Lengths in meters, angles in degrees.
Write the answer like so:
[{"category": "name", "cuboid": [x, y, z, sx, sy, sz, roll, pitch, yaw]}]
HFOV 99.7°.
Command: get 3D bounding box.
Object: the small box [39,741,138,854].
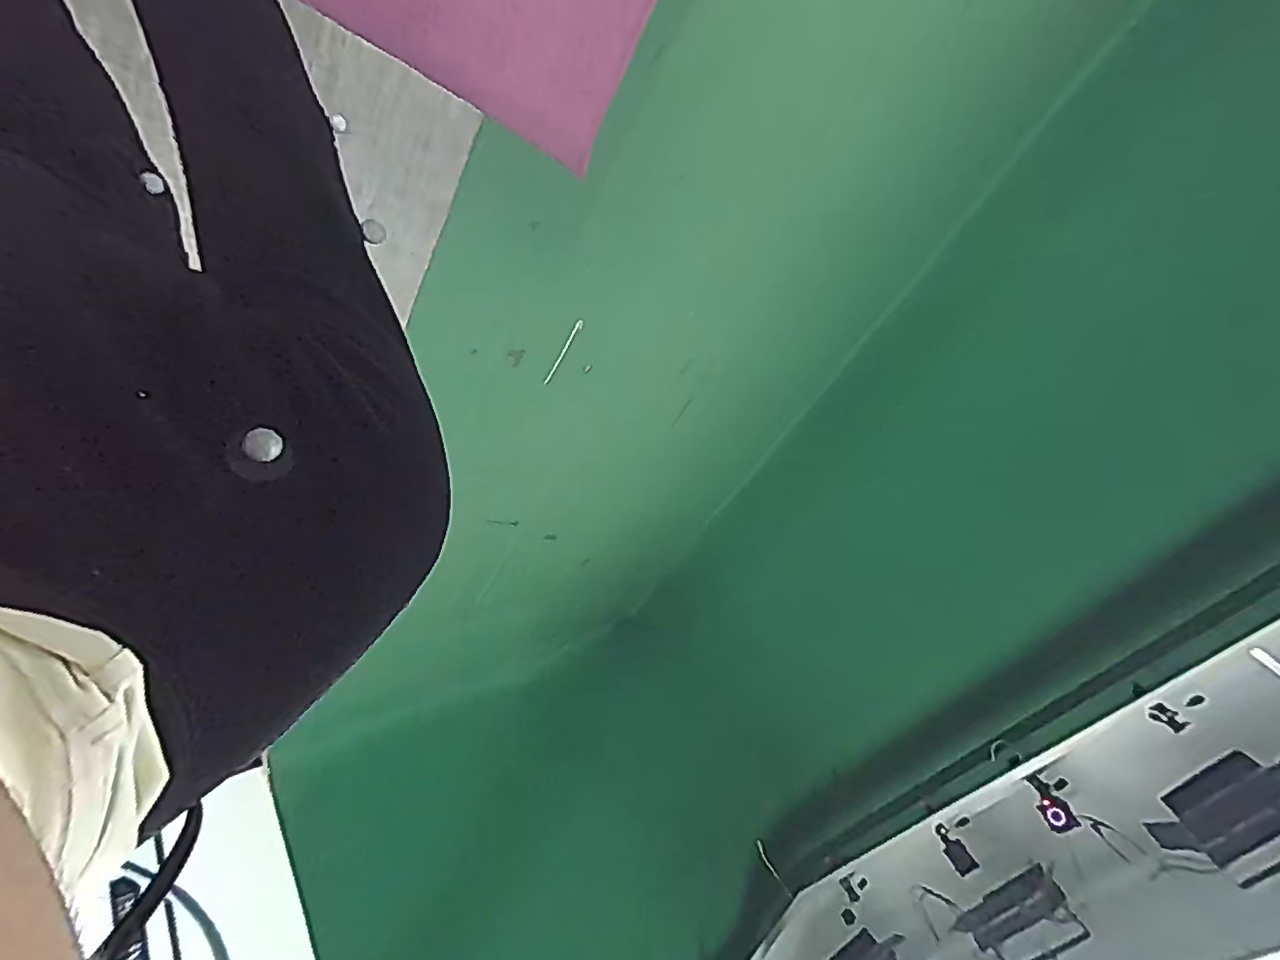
[{"category": "small box", "cuboid": [-1.445, 0.823, 1.415, 0.168, 0.176, 0.179, -1, 135, -51]}]
